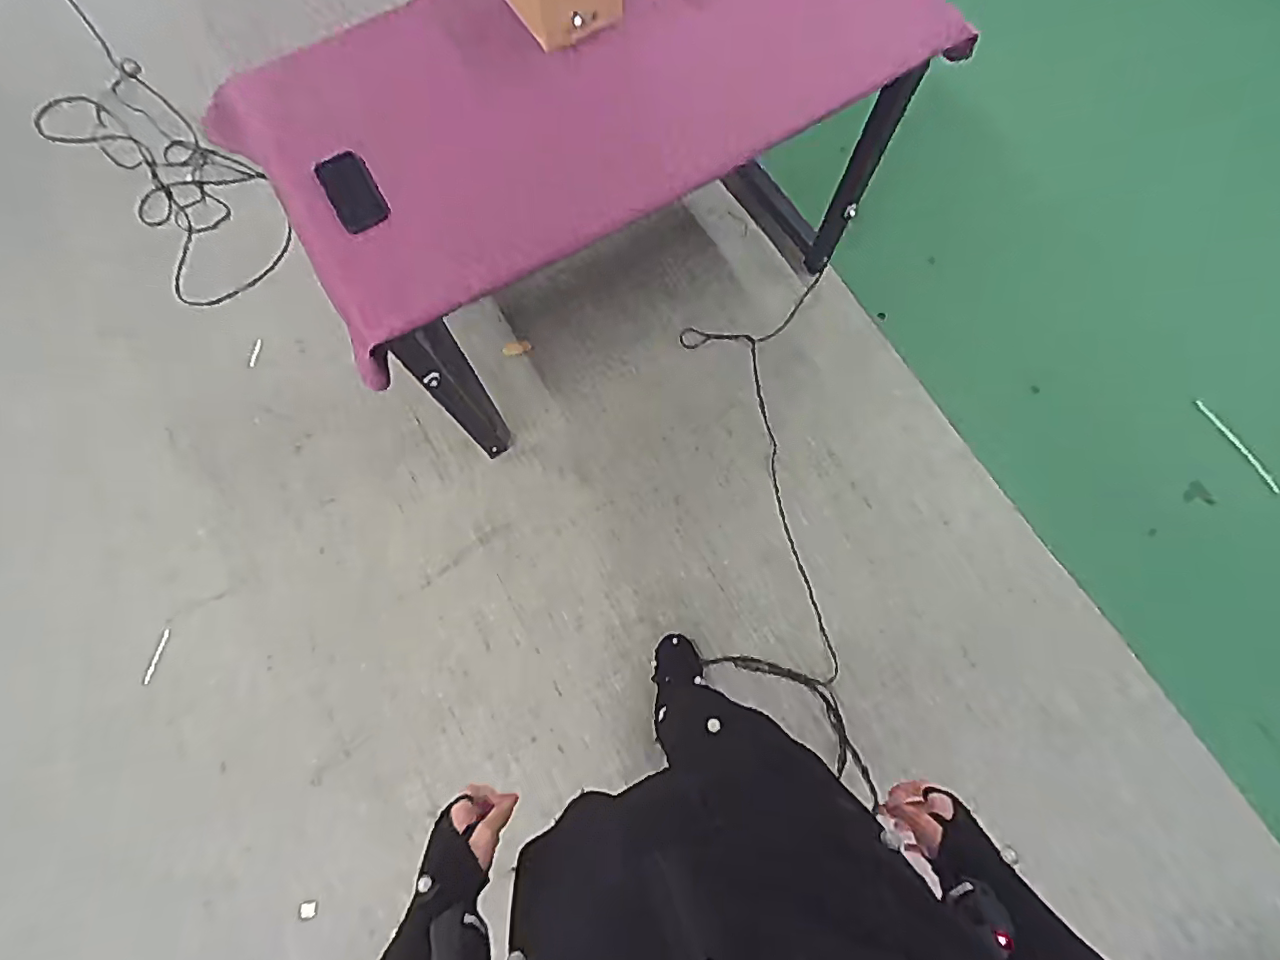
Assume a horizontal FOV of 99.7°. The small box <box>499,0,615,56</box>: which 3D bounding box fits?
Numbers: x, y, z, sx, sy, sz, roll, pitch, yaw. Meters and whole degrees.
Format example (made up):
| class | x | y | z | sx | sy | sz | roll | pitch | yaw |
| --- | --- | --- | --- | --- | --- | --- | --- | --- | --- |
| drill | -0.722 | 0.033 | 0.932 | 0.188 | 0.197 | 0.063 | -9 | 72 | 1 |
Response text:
| class | x | y | z | sx | sy | sz | roll | pitch | yaw |
| --- | --- | --- | --- | --- | --- | --- | --- | --- | --- |
| small box | -0.158 | -0.895 | 0.933 | 0.168 | 0.176 | 0.179 | -32 | 78 | -6 |
